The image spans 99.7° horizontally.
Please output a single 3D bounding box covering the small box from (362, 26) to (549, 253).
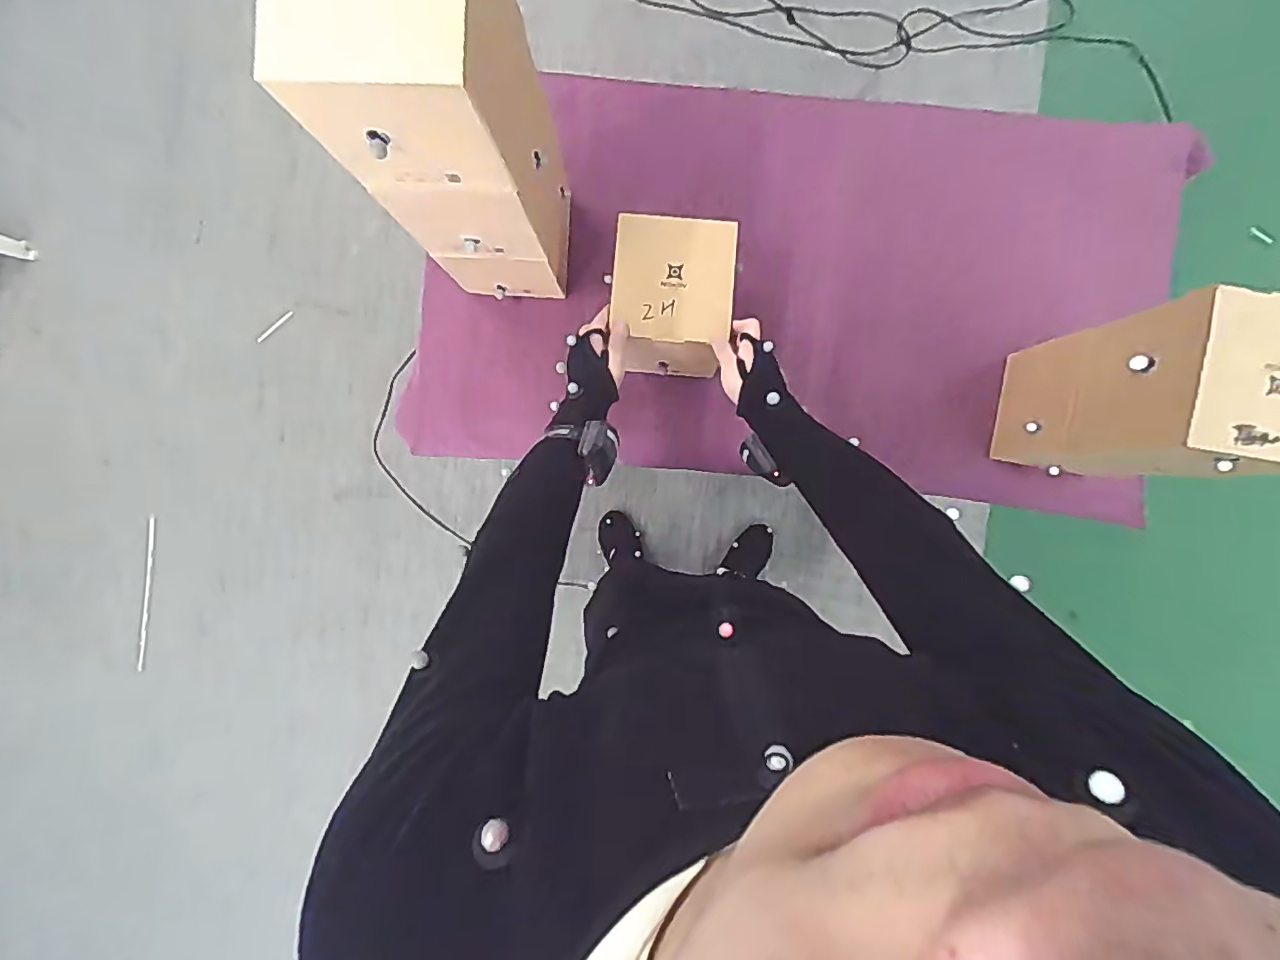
[{"bbox_3d":[-0.207,-0.398,0.651,0.168,0.176,0.179,3,92,2],"label":"small box"}]

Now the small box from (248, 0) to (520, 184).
[{"bbox_3d":[-0.211,-0.395,0.489,0.168,0.176,0.179,2,91,2],"label":"small box"}]

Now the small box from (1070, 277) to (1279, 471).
[{"bbox_3d":[0.658,-0.111,0.639,0.168,0.176,0.179,10,90,2],"label":"small box"}]

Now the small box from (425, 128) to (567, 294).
[{"bbox_3d":[-0.206,-0.399,0.814,0.168,0.176,0.179,3,92,1],"label":"small box"}]

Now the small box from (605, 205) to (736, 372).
[{"bbox_3d":[0.042,-0.275,0.806,0.168,0.176,0.179,5,87,1],"label":"small box"}]
